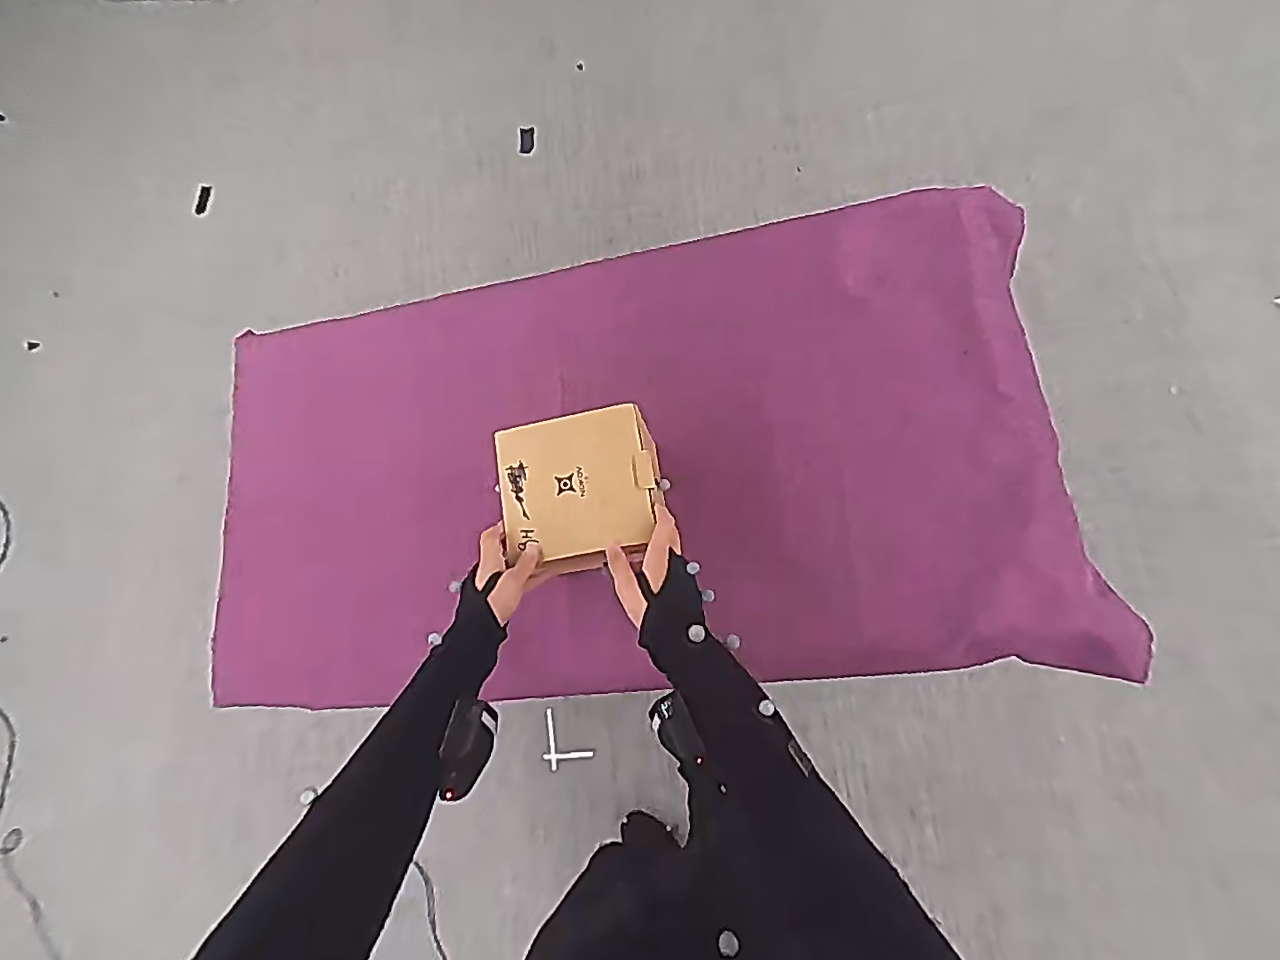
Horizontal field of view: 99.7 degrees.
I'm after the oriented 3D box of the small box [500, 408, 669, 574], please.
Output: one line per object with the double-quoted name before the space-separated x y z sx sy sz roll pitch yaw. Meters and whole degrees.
"small box" -0.061 0.025 0.693 0.179 0.176 0.168 -10 75 6
